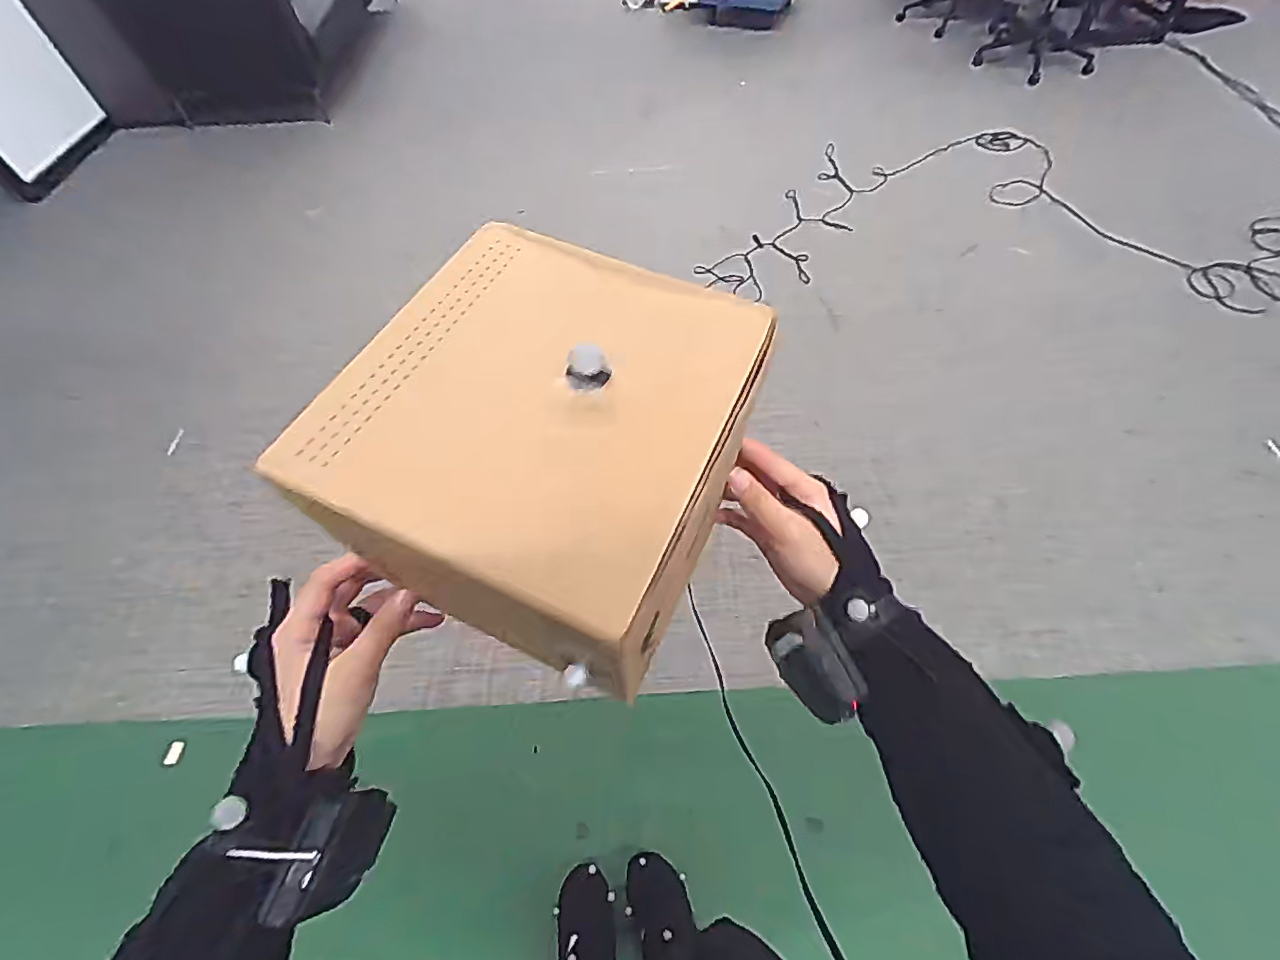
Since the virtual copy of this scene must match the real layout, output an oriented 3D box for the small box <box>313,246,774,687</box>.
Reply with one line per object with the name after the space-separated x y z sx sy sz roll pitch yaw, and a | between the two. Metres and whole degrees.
-0.041 -0.007 0.322 0.176 0.168 0.179 21 62 11 | small box
